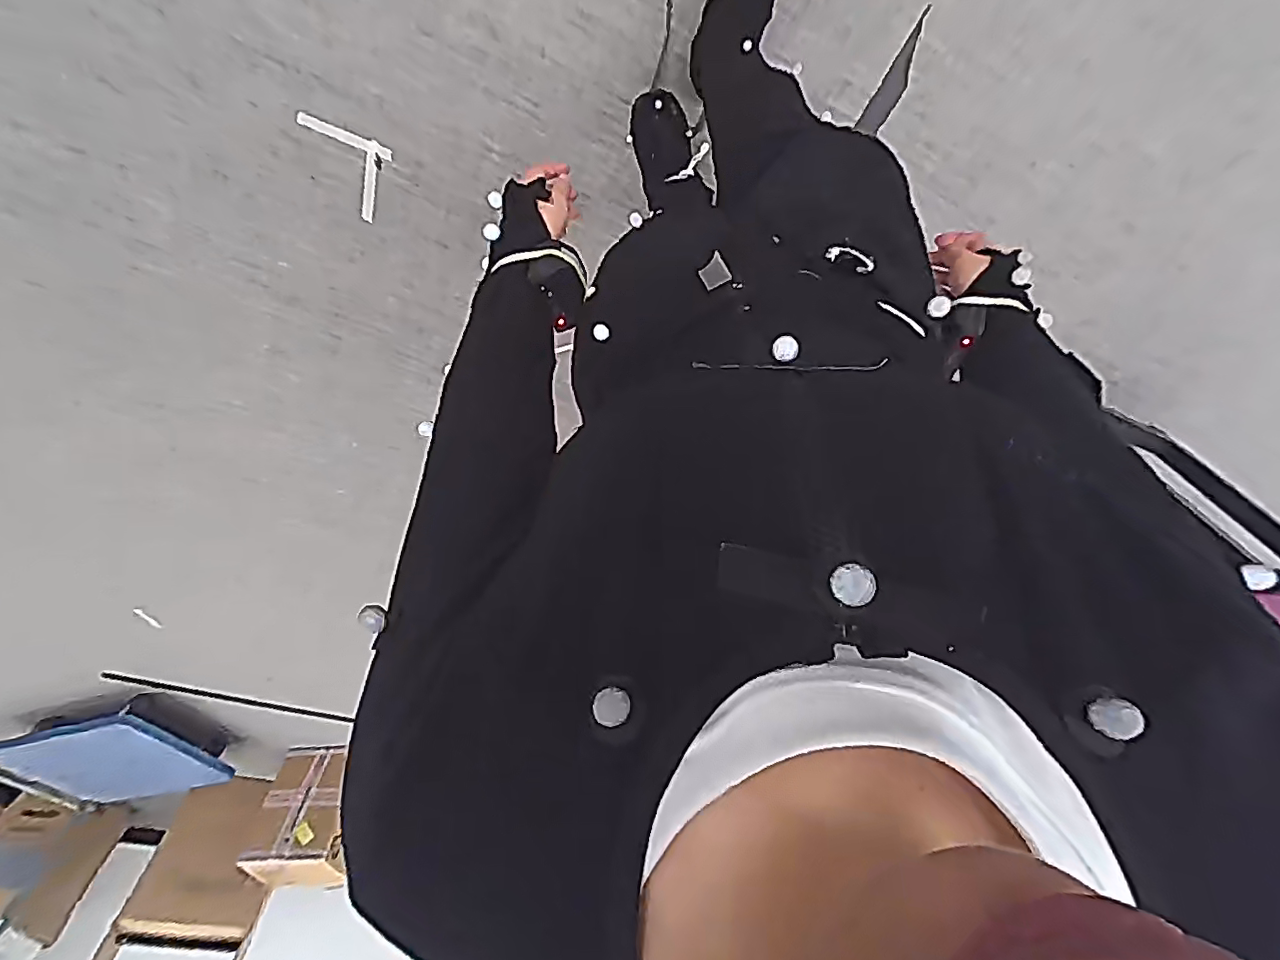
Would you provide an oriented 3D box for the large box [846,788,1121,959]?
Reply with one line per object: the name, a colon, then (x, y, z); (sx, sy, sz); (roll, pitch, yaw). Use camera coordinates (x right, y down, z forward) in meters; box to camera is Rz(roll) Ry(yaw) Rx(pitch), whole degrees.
large box: (0.794, 0.987, 1.314); (0.408, 0.320, 0.320); (17, 128, -16)
